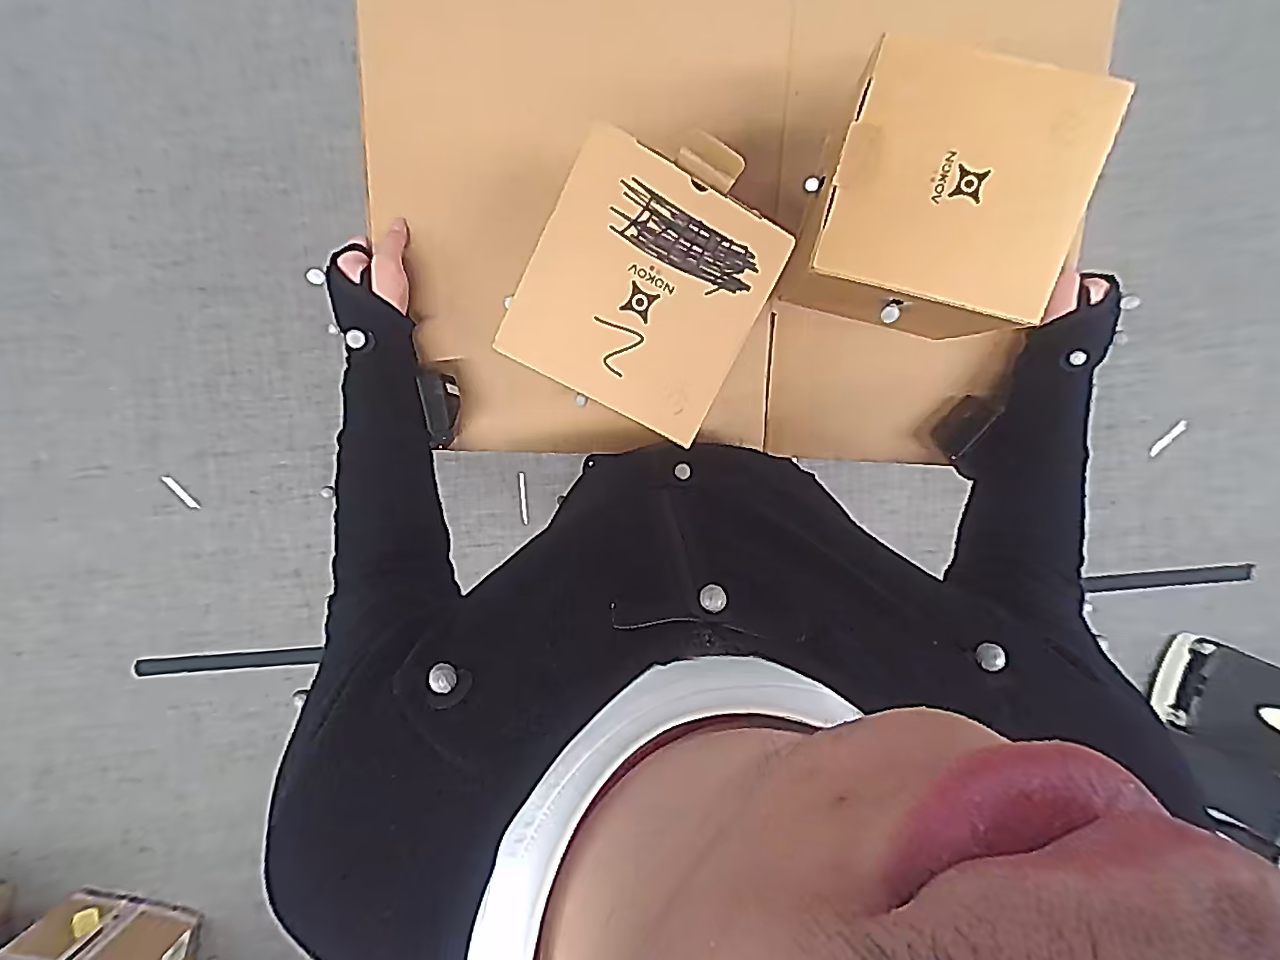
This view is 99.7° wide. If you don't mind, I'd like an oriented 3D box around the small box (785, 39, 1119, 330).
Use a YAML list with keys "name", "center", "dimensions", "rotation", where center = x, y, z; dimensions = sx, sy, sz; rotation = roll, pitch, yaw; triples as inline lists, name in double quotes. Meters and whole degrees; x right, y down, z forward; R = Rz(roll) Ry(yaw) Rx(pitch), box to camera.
- name: "small box"
  center: [0.245, -0.236, 0.481]
  dimensions: [0.179, 0.176, 0.168]
  rotation: [16, 102, 4]
